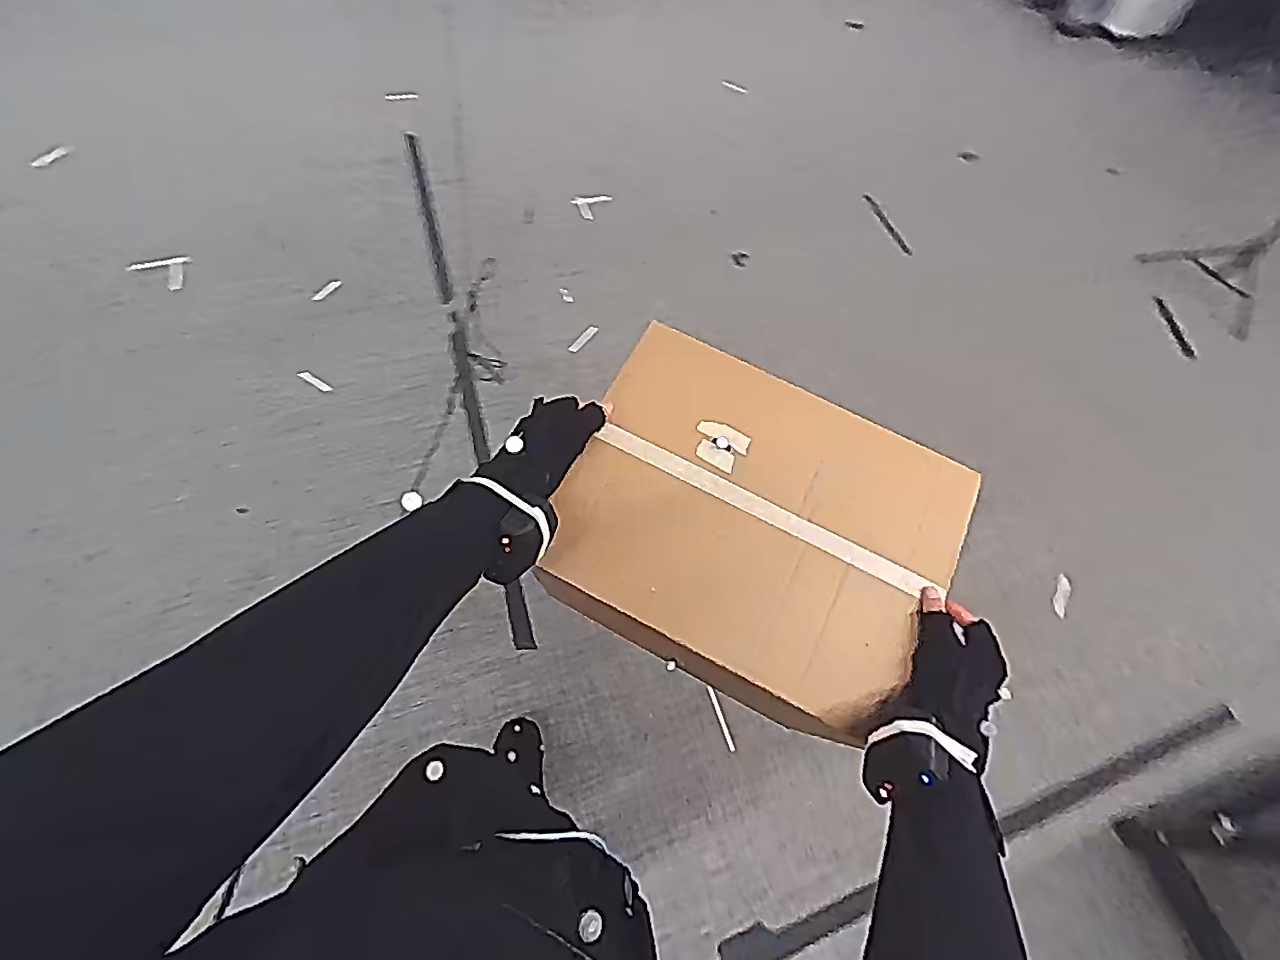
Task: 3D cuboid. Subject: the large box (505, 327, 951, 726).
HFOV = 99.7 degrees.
[{"bbox_3d":[0.101,0.074,0.715,0.408,0.320,0.320,26,70,7],"label":"large box"}]
